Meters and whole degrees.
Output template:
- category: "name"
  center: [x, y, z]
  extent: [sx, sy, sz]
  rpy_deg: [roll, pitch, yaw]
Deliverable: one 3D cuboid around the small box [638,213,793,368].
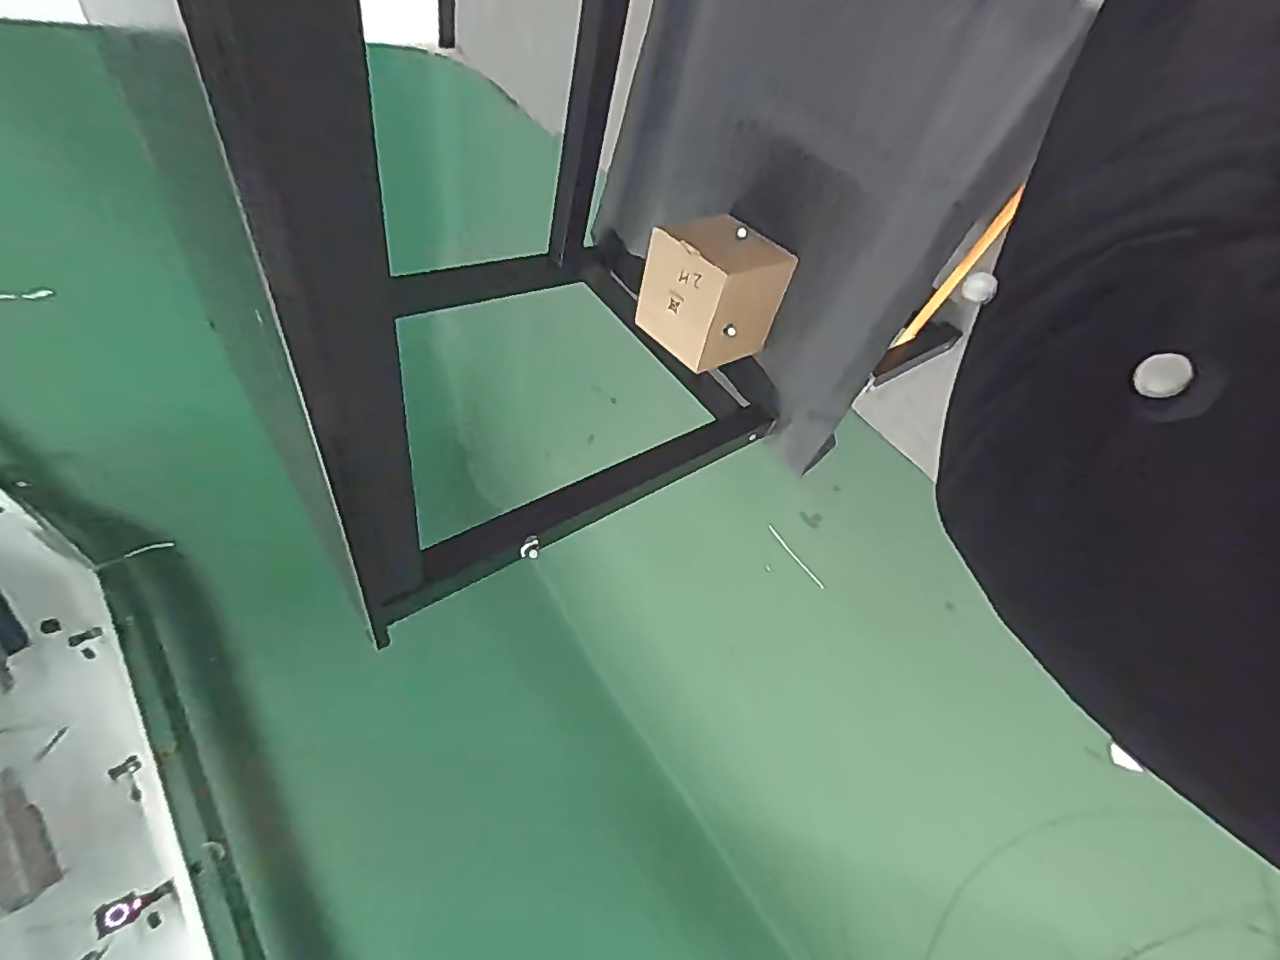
- category: "small box"
  center: [0.123, -0.320, 0.902]
  extent: [0.168, 0.176, 0.179]
  rpy_deg: [46, 143, 26]
